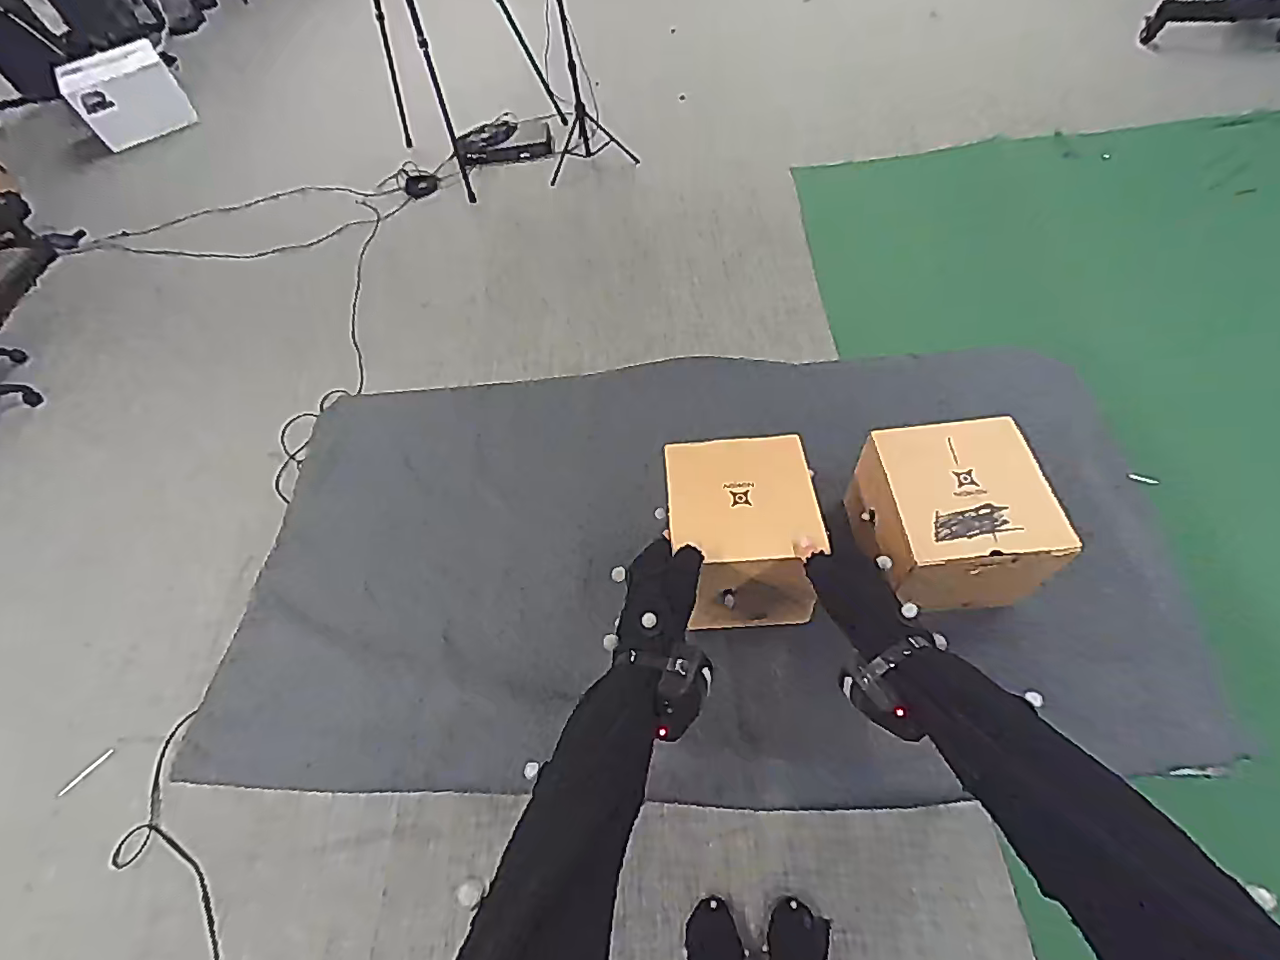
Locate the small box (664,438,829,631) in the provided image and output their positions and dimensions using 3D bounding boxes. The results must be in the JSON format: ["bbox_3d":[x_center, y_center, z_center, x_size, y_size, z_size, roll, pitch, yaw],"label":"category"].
[{"bbox_3d":[0.120,0.074,0.662,0.168,0.176,0.179,-5,48,4],"label":"small box"}]
